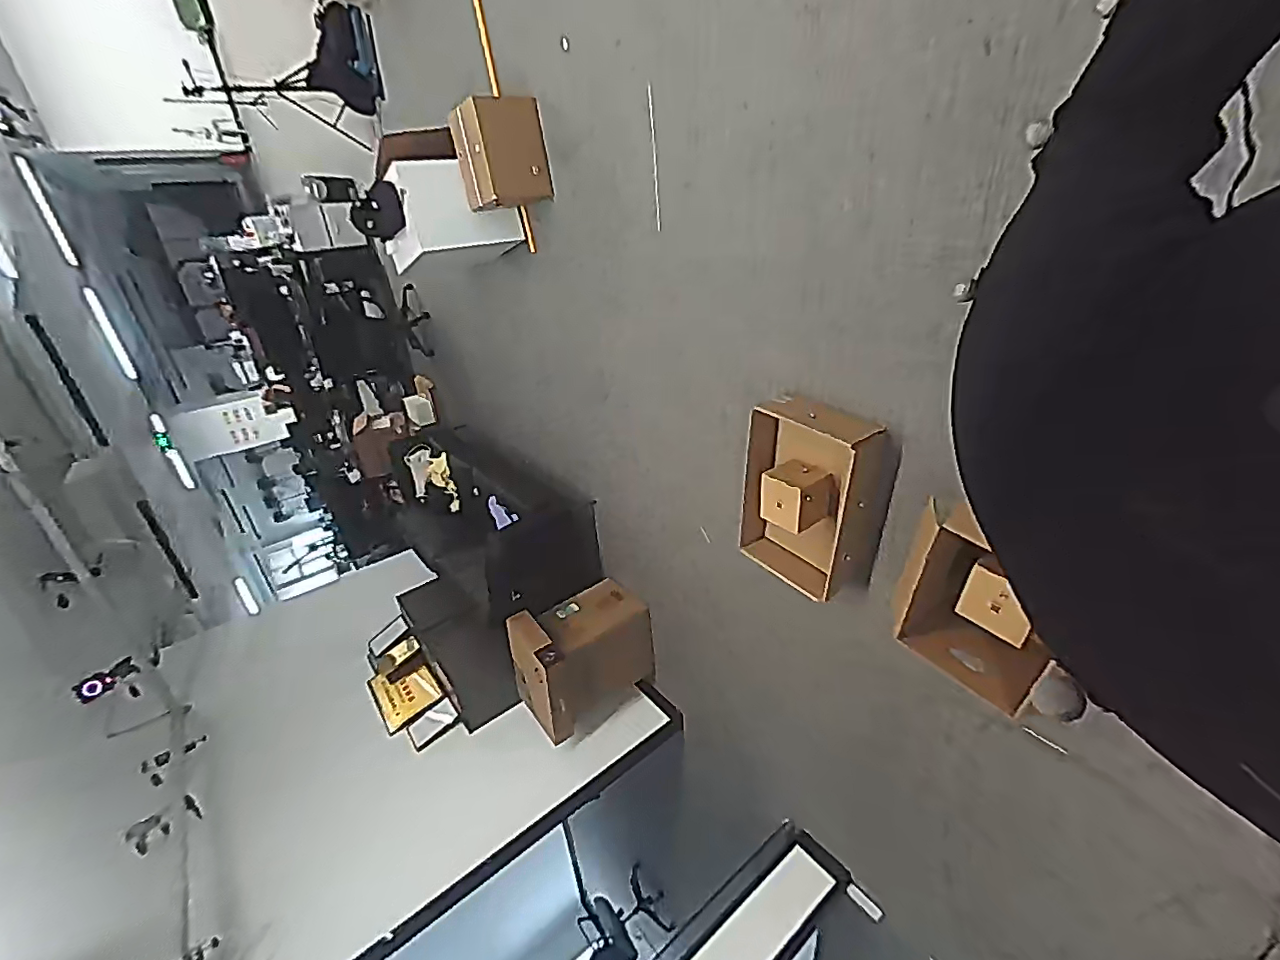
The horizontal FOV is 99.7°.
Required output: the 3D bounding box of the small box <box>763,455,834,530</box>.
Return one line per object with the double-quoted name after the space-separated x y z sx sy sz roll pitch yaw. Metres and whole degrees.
0.541 0.038 1.849 0.168 0.176 0.179 28 132 47 "small box"
